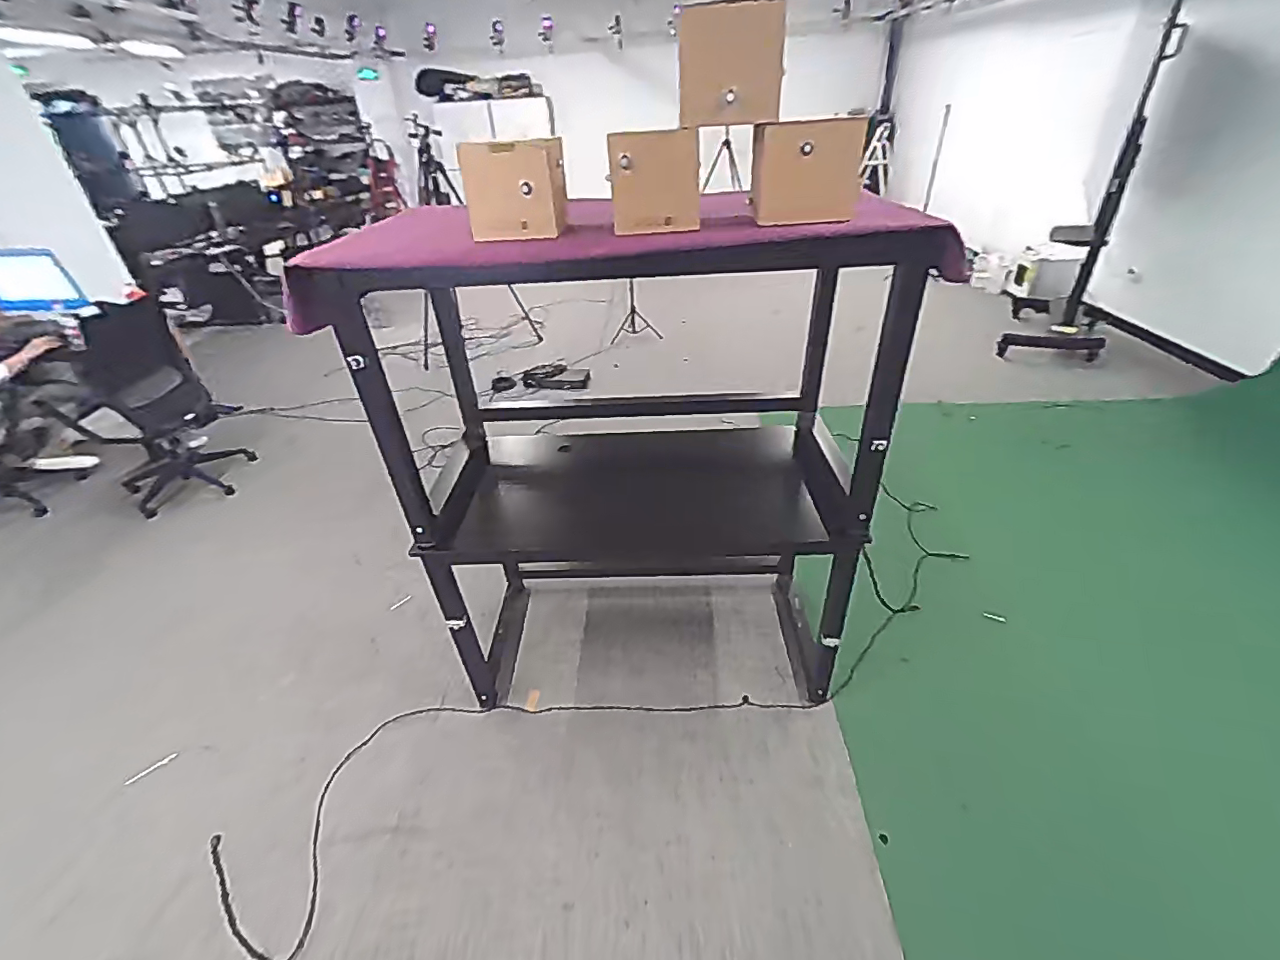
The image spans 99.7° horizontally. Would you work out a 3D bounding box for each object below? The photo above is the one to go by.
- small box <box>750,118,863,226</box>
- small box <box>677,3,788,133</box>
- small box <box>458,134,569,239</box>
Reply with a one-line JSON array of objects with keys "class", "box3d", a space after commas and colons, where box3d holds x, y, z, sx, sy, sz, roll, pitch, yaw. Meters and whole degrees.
[{"class": "small box", "box3d": [0.312, -0.600, 1.056, 0.179, 0.176, 0.168, -1, 34, 3]}, {"class": "small box", "box3d": [0.156, -0.731, 0.972, 0.179, 0.176, 0.168, 0, 34, 4]}, {"class": "small box", "box3d": [-0.240, -0.584, 1.079, 0.168, 0.176, 0.179, 0, 34, 3]}]
